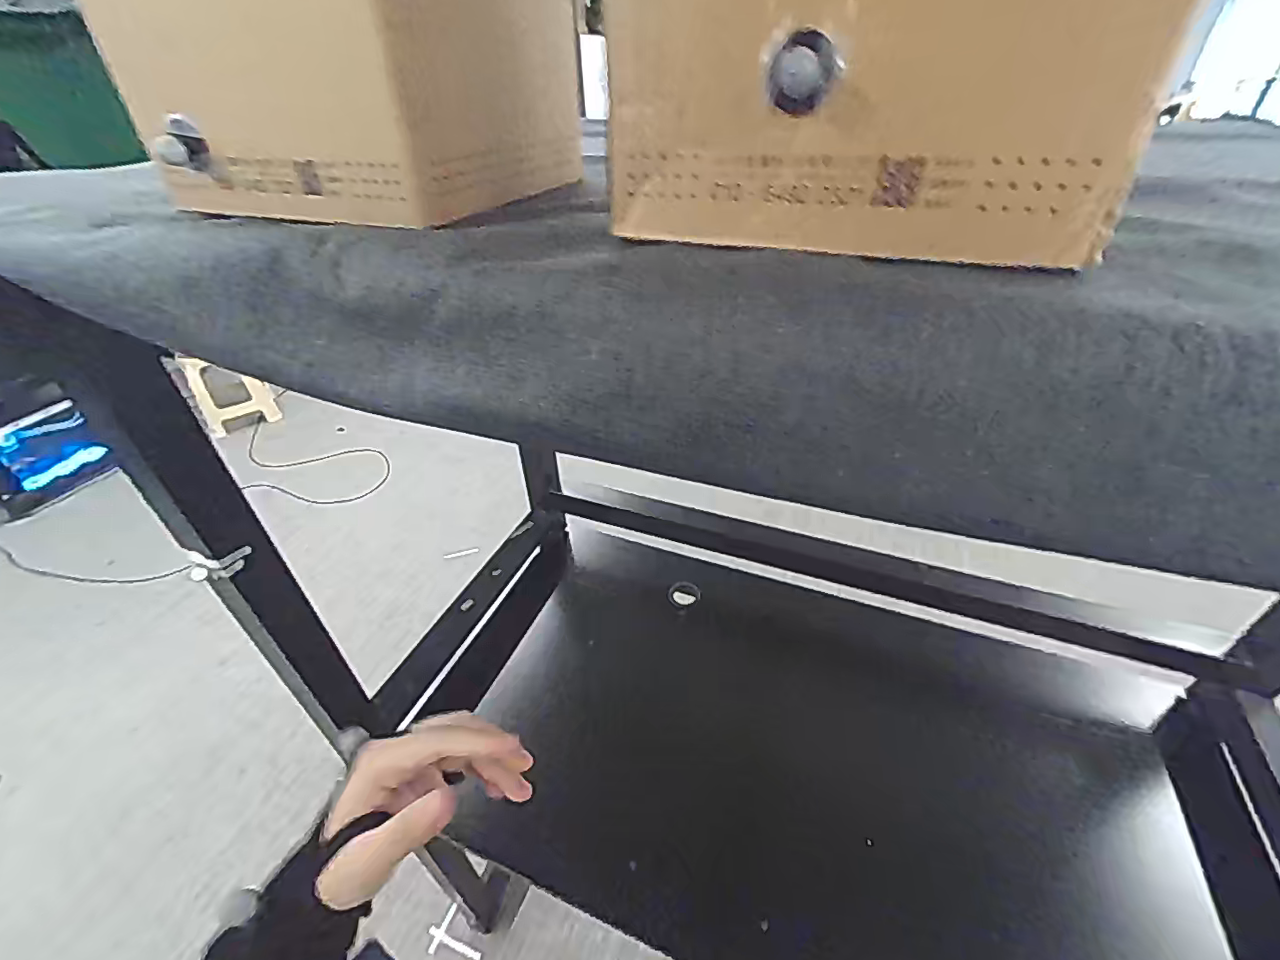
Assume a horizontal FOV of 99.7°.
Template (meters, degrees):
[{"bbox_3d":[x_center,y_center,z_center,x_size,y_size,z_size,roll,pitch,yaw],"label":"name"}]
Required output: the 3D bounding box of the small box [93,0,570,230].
[{"bbox_3d":[-0.146,-0.240,0.289,0.168,0.176,0.179,11,37,16],"label":"small box"}]

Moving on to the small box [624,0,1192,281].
[{"bbox_3d":[0.095,-0.192,0.216,0.168,0.176,0.179,12,38,18],"label":"small box"}]
